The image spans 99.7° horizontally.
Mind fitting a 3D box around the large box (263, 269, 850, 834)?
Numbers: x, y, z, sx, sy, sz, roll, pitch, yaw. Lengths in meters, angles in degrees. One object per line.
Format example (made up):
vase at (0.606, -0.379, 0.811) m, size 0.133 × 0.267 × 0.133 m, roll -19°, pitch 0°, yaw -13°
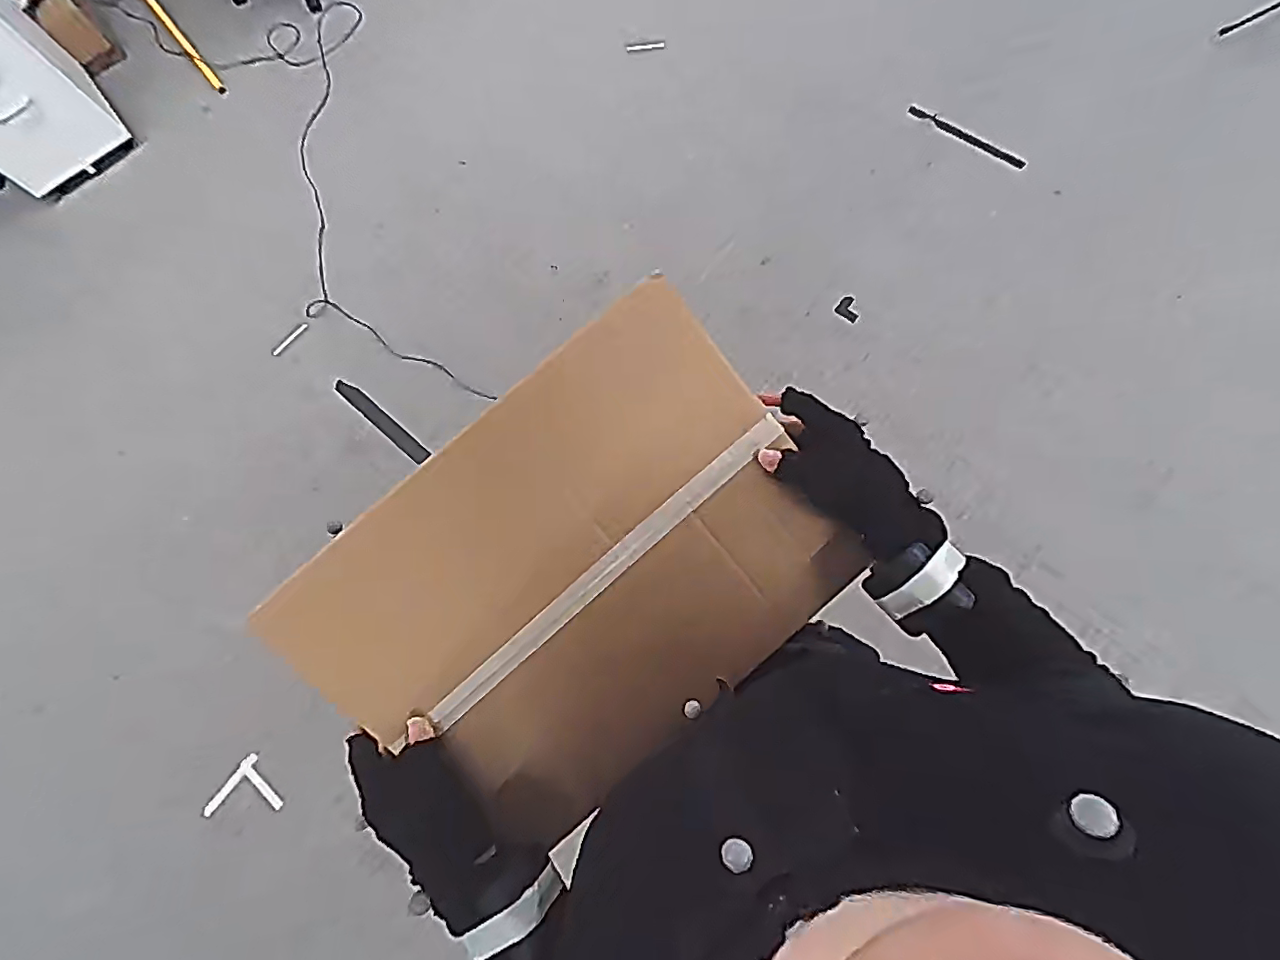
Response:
large box at (-0.076, 0.054, 0.597) m, size 0.408 × 0.320 × 0.320 m, roll -41°, pitch 104°, yaw -2°
